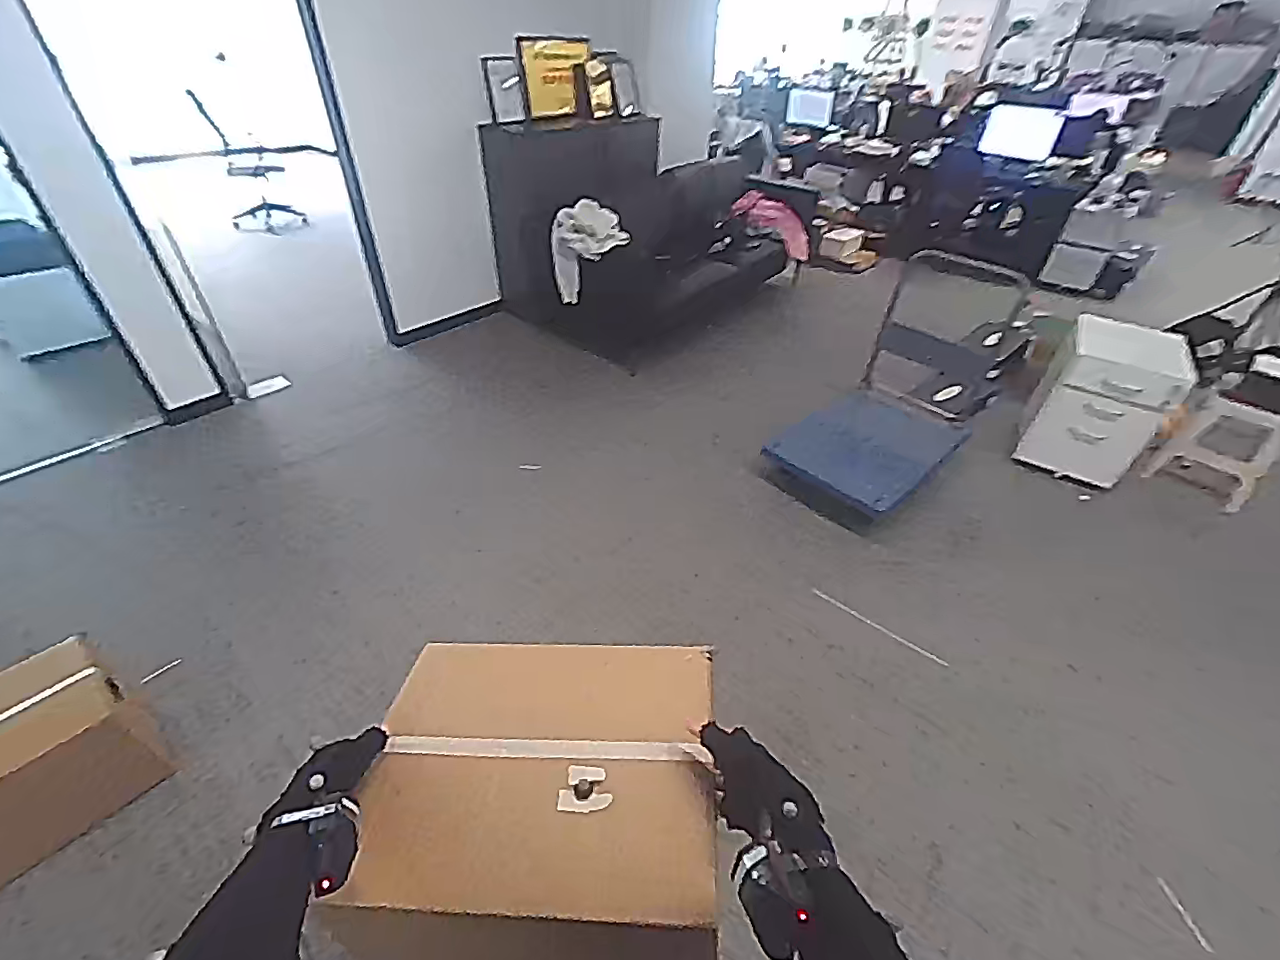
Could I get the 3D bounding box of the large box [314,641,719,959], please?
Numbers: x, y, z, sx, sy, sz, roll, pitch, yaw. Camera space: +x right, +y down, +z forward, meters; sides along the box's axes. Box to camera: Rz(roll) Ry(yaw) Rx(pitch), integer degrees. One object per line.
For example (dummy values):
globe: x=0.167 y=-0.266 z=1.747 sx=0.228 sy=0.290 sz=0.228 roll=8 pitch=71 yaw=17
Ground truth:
large box: x=-0.109 y=0.437 z=0.718 sx=0.408 sy=0.320 sz=0.320 roll=-1 pitch=33 yaw=5
